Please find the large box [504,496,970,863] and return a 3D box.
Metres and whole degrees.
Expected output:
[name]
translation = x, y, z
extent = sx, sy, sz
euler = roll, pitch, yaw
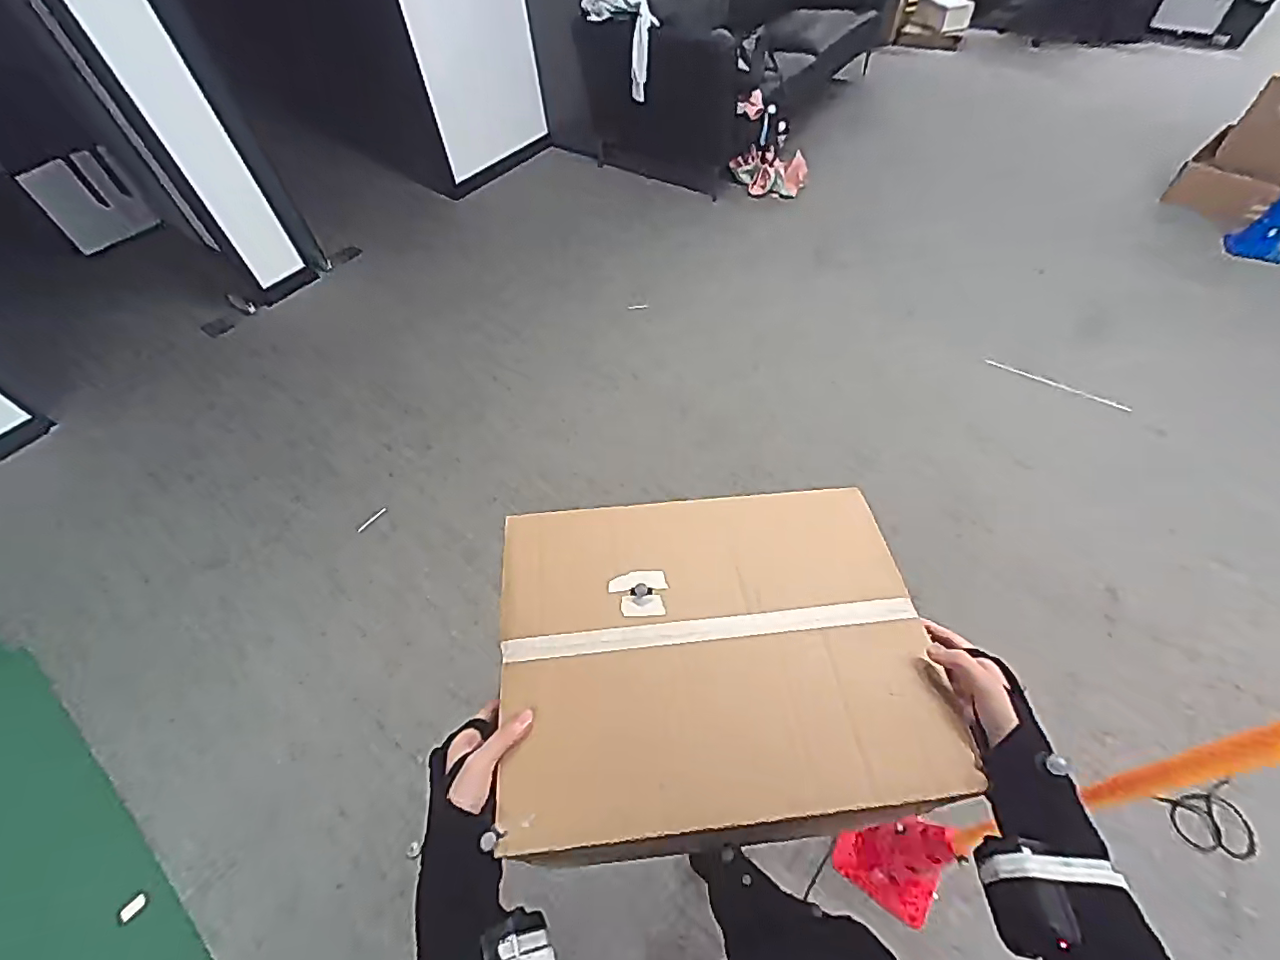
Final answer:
[large box]
translation = 0.071, 0.247, 0.652
extent = 0.408, 0.320, 0.320
euler = -5, 52, -4
